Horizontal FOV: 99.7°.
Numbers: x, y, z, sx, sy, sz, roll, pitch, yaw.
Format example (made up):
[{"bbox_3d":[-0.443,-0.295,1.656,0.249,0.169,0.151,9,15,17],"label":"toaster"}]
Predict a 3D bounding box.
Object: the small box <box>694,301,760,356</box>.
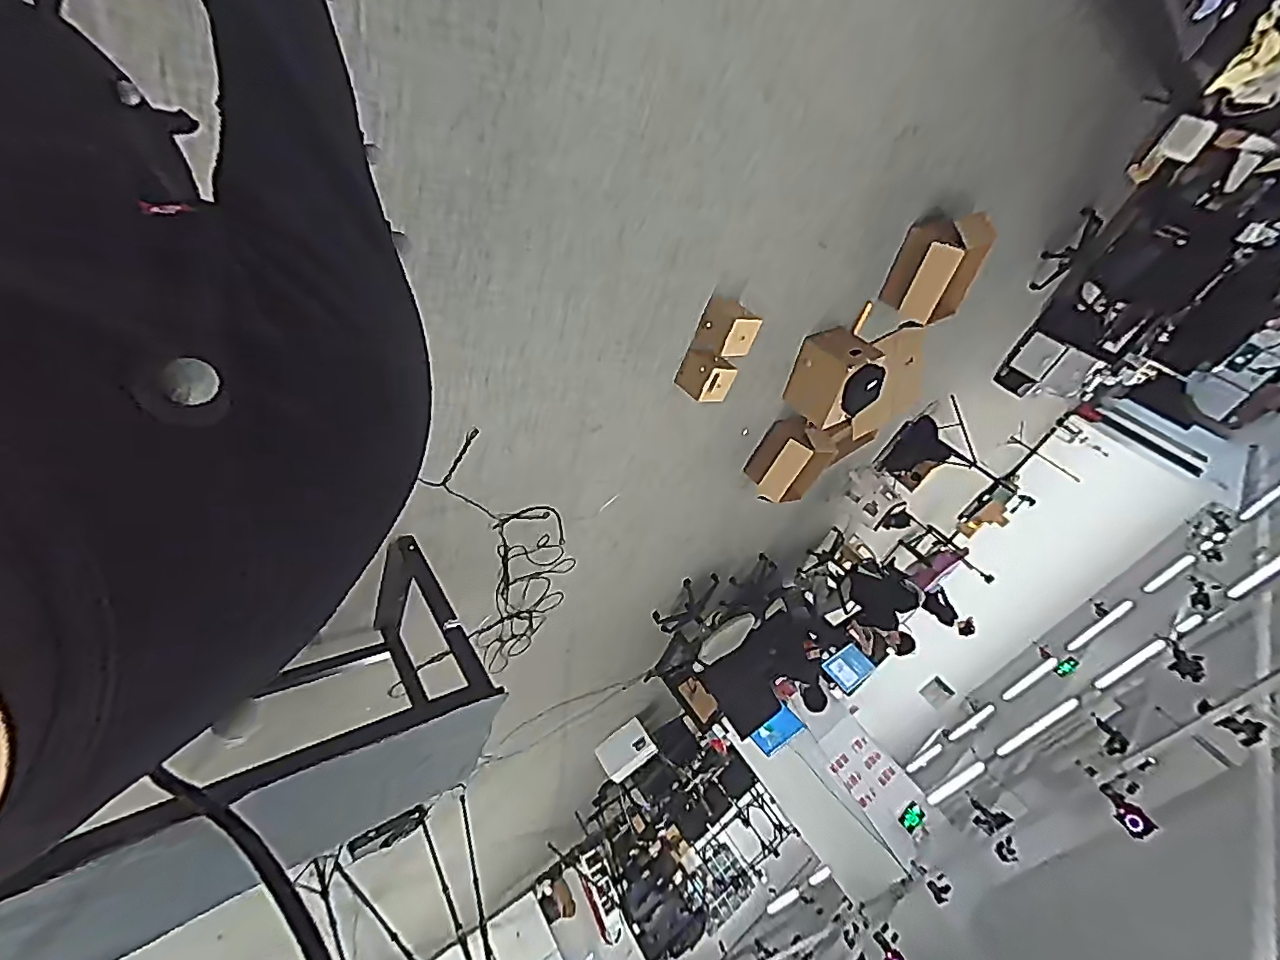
[{"bbox_3d":[0.360,-0.630,2.251,0.179,0.176,0.168,-12,137,-39],"label":"small box"}]
